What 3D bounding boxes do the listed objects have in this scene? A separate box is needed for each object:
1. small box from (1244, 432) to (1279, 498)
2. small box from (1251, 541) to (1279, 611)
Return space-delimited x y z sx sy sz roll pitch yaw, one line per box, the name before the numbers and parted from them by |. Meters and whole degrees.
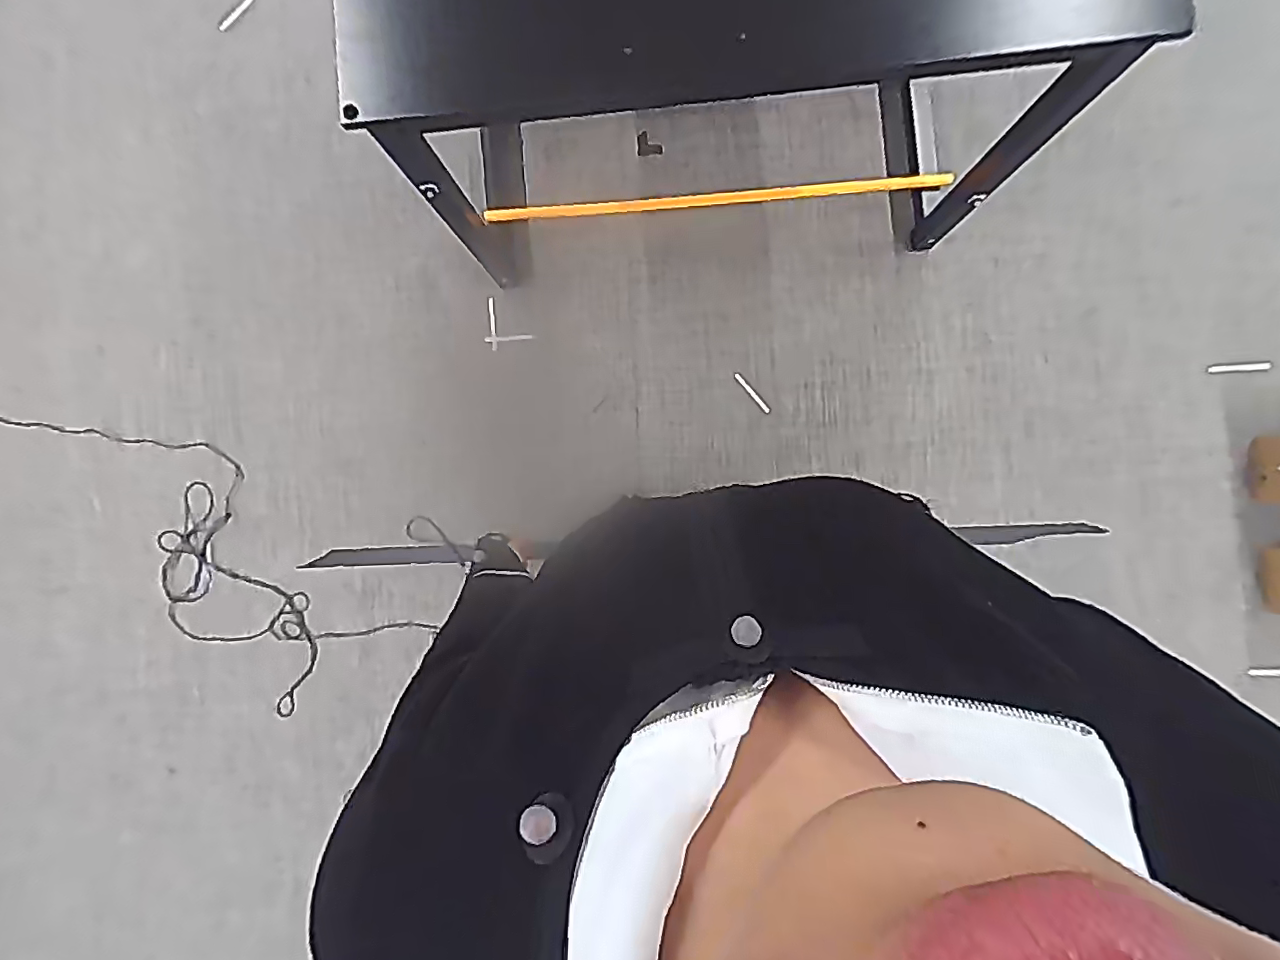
small box | 1.677 -0.038 1.349 0.179 0.176 0.168 -1 90 3
small box | 1.699 0.248 1.349 0.168 0.176 0.179 -4 90 3
